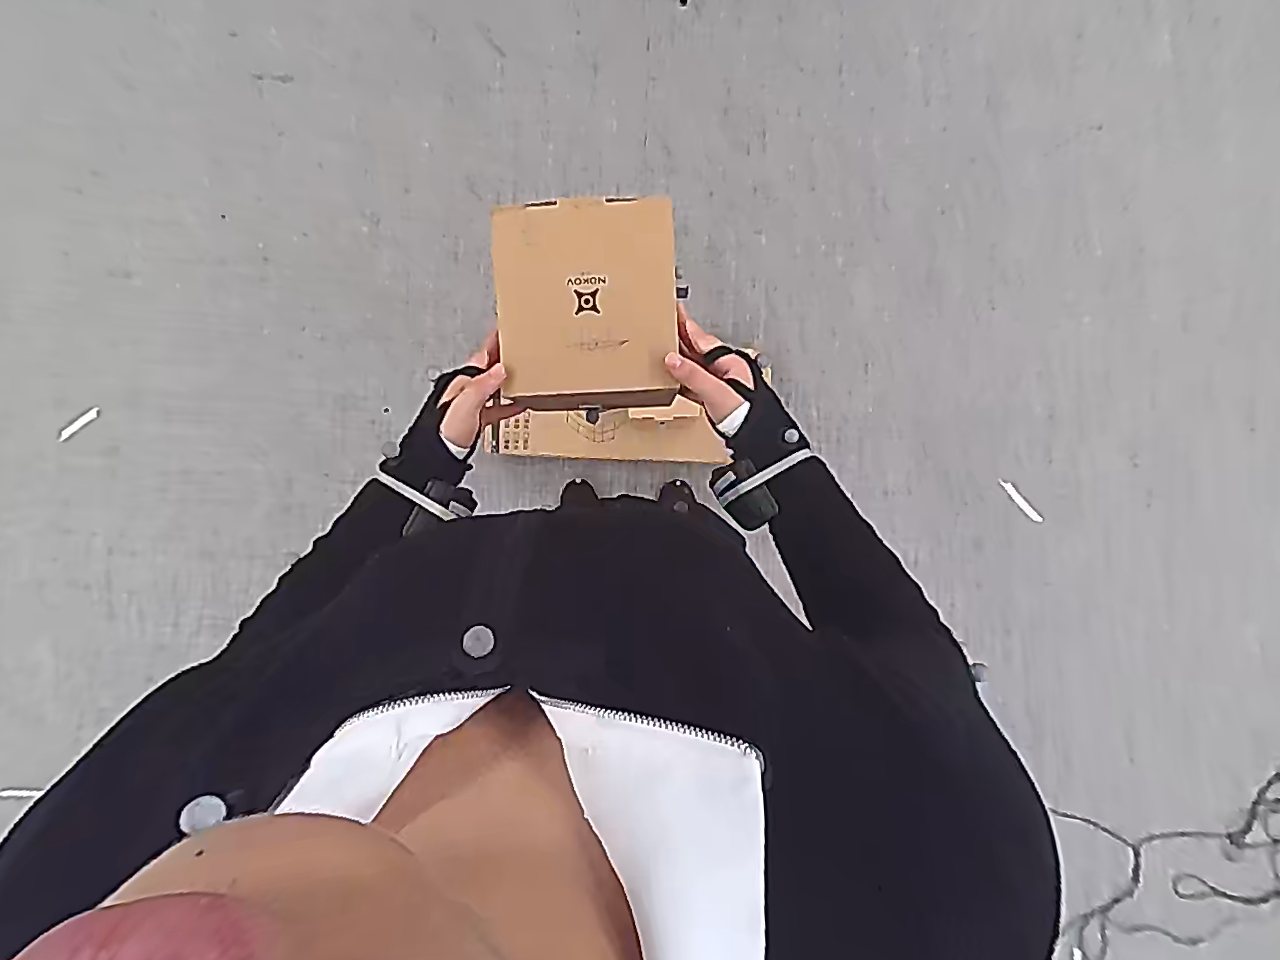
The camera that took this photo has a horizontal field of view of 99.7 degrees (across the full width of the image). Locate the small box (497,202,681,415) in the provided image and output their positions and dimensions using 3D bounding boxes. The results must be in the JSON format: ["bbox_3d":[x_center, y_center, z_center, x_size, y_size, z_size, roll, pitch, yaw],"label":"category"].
[{"bbox_3d":[-0.048,-0.166,0.573,0.168,0.176,0.179,-3,92,0],"label":"small box"}]

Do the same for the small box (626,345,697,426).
[{"bbox_3d":[0.049,-0.224,1.318,0.168,0.176,0.179,0,90,-1],"label":"small box"}]
